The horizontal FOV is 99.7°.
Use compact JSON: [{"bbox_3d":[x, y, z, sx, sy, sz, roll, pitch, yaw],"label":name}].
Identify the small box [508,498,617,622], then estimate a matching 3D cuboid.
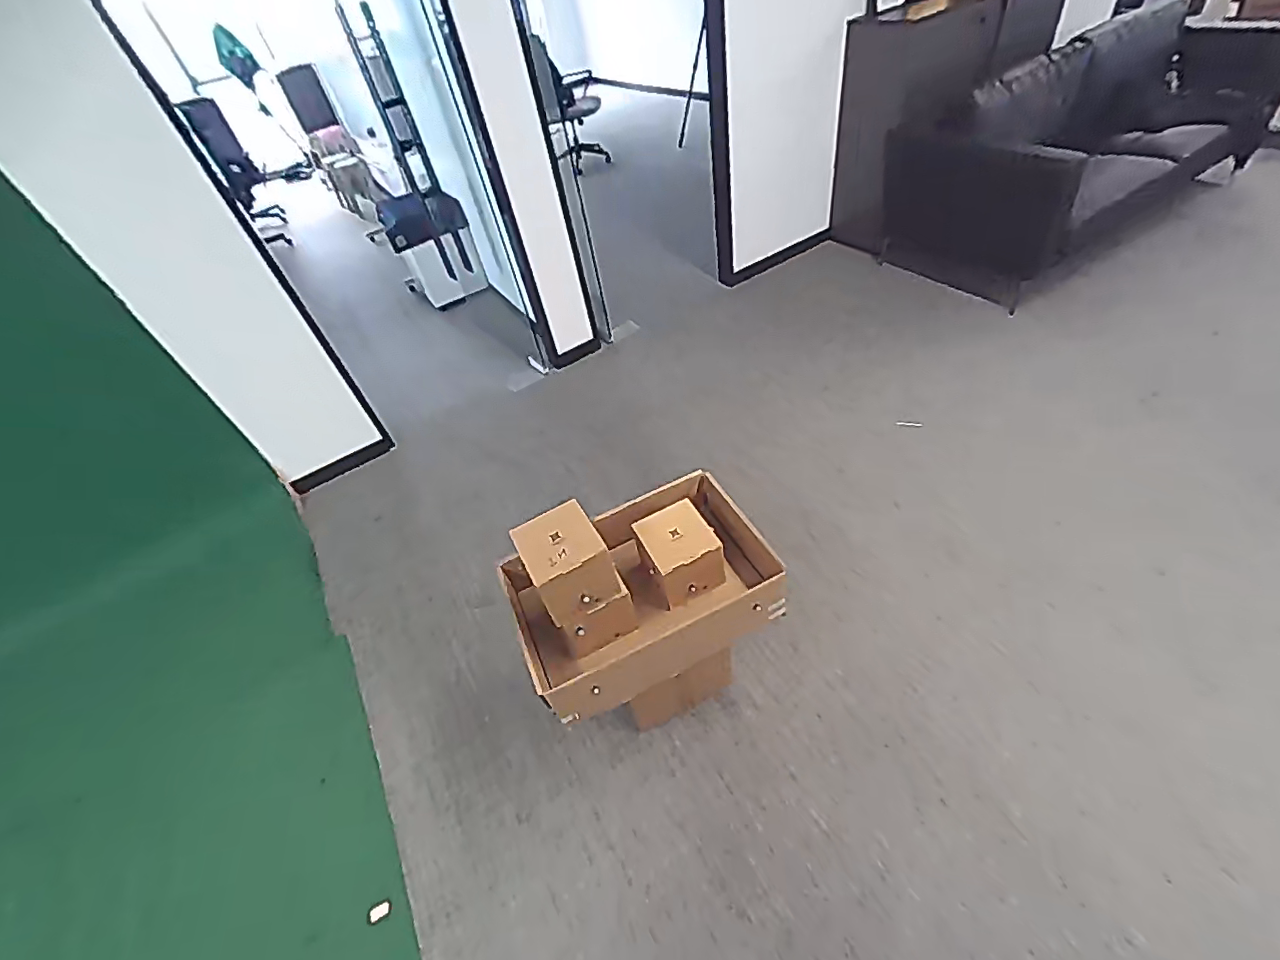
[{"bbox_3d":[-0.169,0.178,1.193,0.168,0.176,0.179,-27,49,-13],"label":"small box"}]
